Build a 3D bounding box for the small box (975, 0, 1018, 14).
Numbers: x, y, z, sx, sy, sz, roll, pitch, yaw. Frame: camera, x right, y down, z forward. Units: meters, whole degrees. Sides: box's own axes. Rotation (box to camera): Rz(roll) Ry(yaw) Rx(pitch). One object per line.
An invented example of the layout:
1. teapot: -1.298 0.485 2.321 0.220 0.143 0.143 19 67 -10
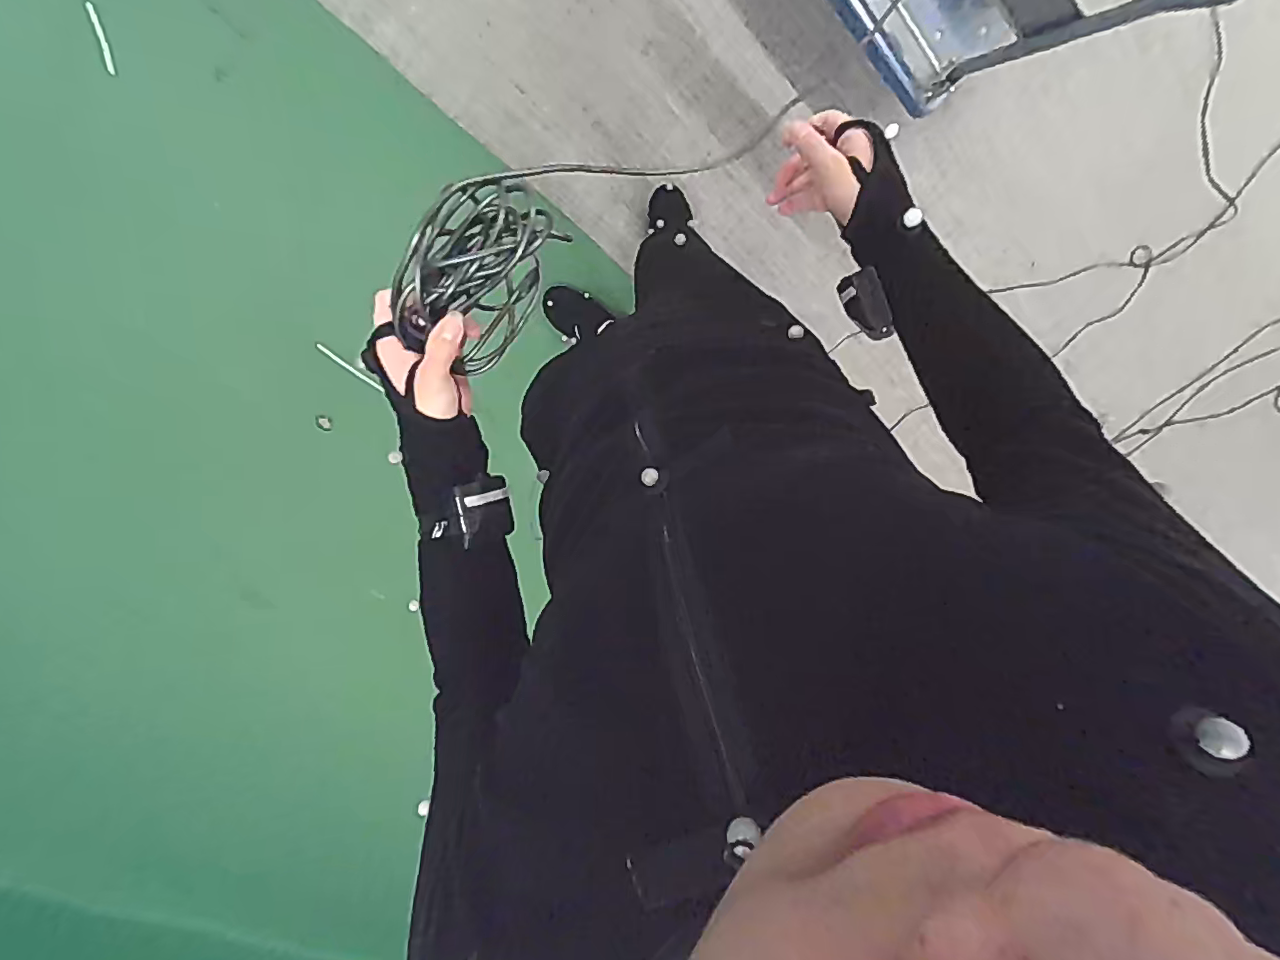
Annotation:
1. small box: 0.754 -1.066 1.037 0.168 0.176 0.179 39 103 -22
